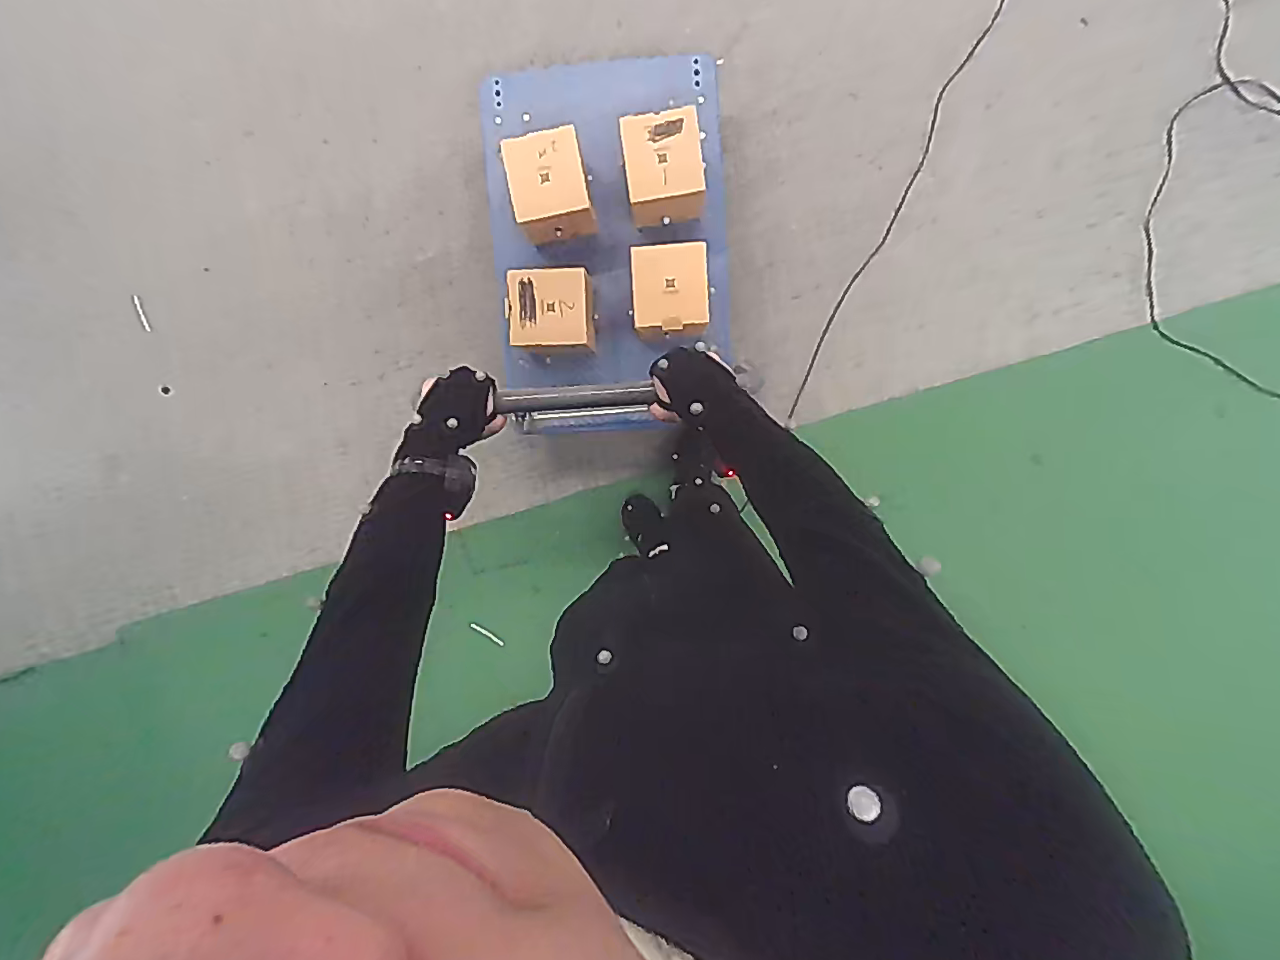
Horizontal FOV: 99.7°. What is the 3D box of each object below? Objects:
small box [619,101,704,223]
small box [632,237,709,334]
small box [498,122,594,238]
[{"bbox_3d":[0.047,-0.709,1.223,0.168,0.176,0.179,-8,98,4],"label":"small box"},{"bbox_3d":[0.069,-0.444,1.257,0.168,0.176,0.179,-4,98,3],"label":"small box"},{"bbox_3d":[-0.205,-0.672,1.237,0.168,0.176,0.179,-11,97,3],"label":"small box"}]
